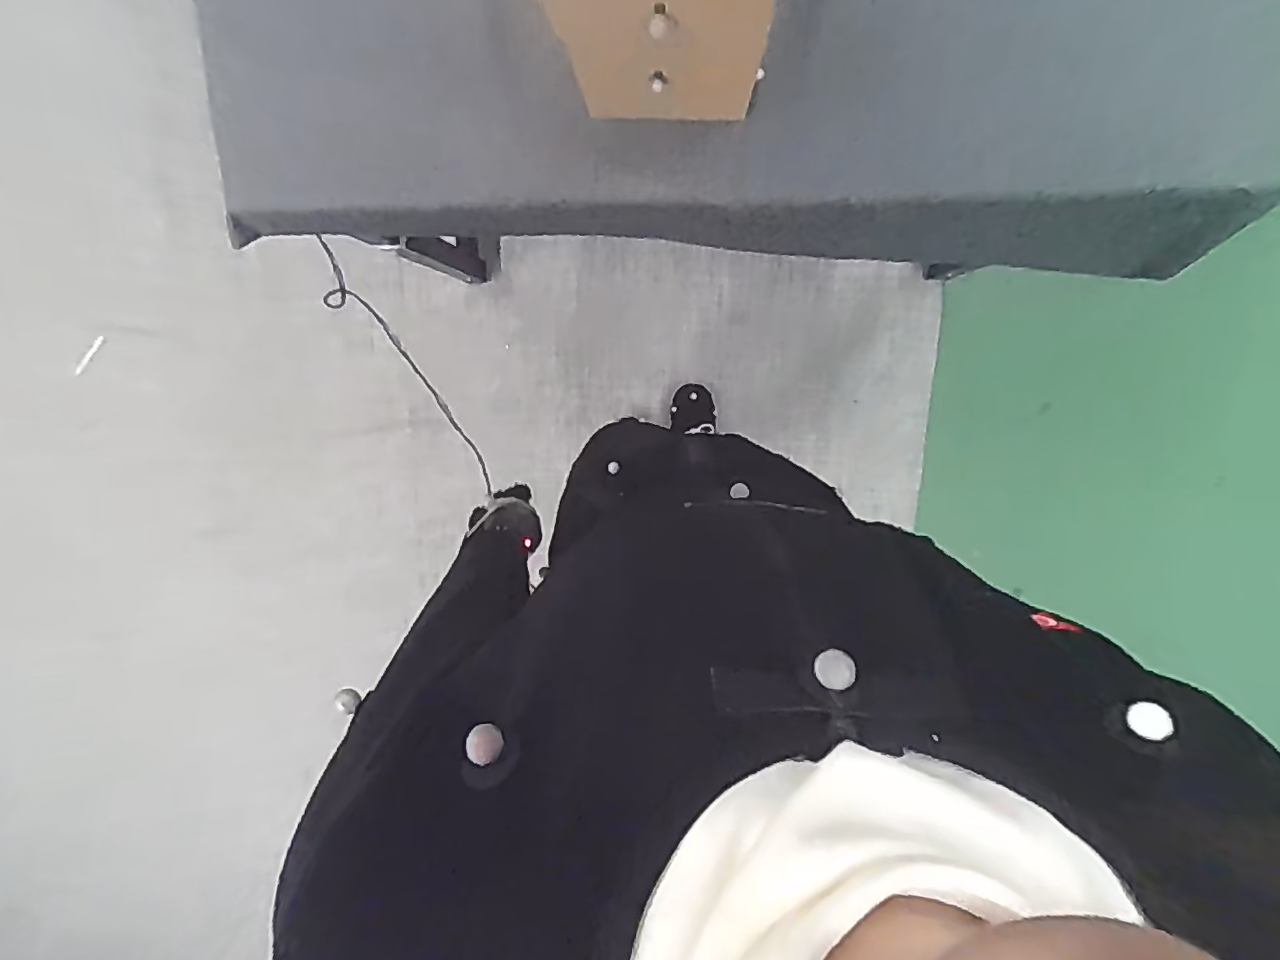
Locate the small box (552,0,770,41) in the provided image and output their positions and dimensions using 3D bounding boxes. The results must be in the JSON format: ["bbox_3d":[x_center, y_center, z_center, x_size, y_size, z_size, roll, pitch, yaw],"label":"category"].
[{"bbox_3d":[0.020,-0.434,0.361,0.179,0.176,0.168,3,101,2],"label":"small box"}]

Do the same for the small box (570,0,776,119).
[{"bbox_3d":[0.034,-0.474,0.518,0.179,0.176,0.168,3,101,4],"label":"small box"}]
